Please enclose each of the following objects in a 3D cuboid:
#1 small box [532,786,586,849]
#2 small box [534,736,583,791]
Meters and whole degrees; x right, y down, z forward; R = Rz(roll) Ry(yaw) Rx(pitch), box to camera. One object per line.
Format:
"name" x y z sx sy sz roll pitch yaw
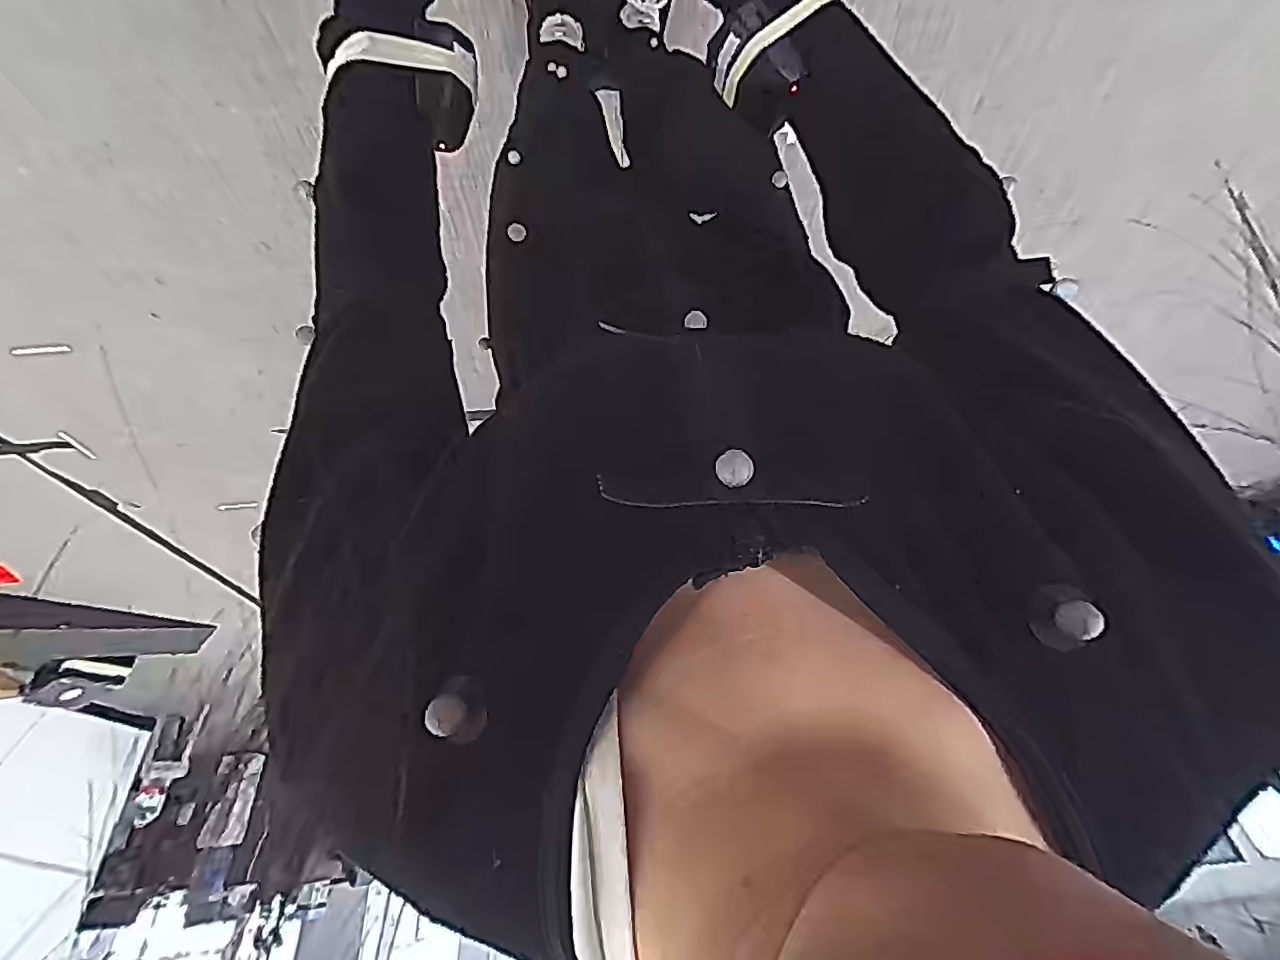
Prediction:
"small box" -0.282 1.172 1.884 0.168 0.176 0.179 -5 145 -2
"small box" -0.297 1.053 1.995 0.168 0.176 0.179 -4 144 -6
